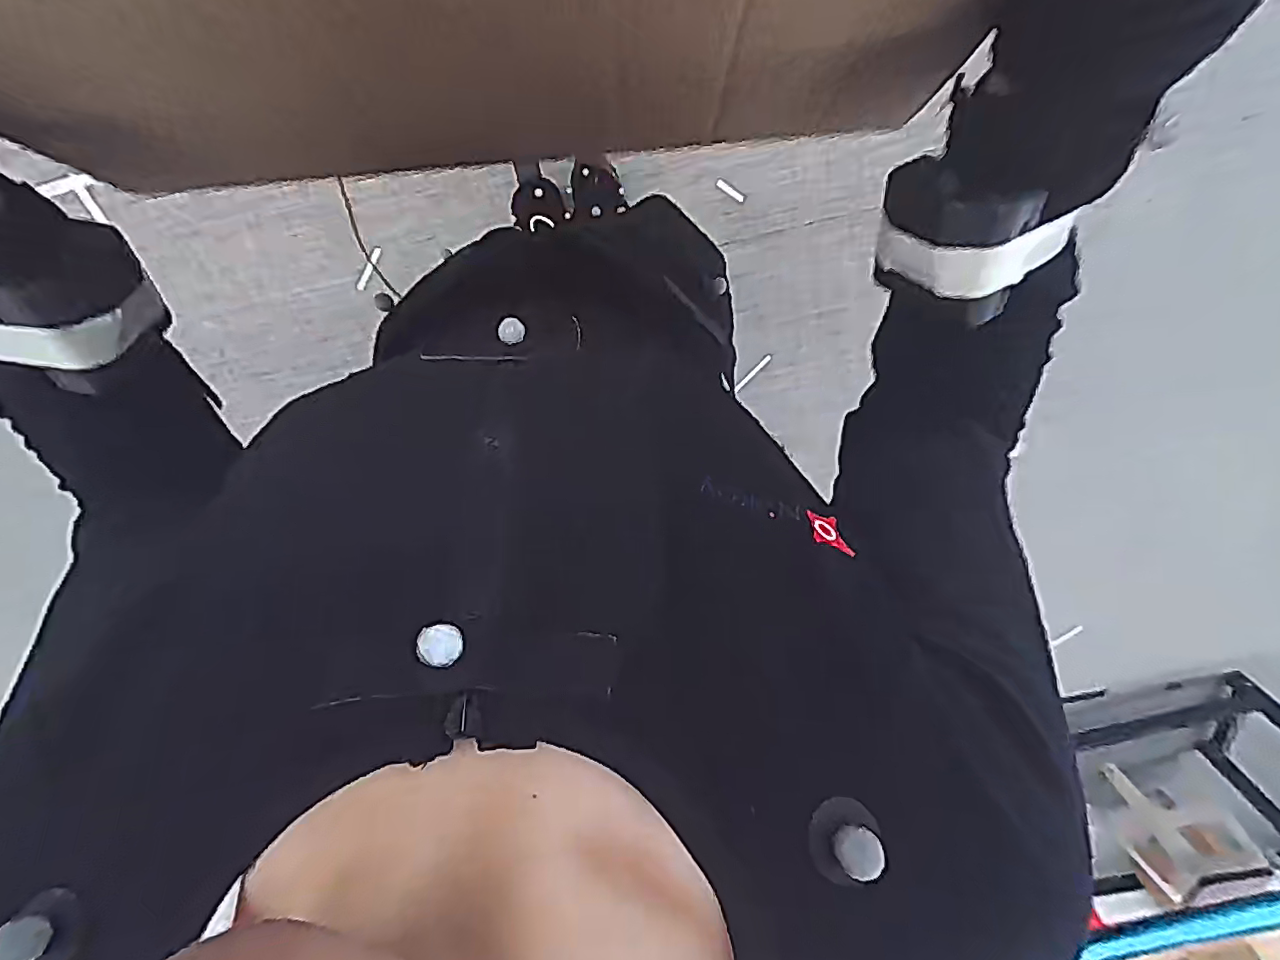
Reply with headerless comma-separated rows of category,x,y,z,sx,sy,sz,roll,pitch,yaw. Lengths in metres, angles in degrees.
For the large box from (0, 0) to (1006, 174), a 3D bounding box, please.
large box,-0.072,-0.309,0.115,0.408,0.320,0.320,-5,98,1
